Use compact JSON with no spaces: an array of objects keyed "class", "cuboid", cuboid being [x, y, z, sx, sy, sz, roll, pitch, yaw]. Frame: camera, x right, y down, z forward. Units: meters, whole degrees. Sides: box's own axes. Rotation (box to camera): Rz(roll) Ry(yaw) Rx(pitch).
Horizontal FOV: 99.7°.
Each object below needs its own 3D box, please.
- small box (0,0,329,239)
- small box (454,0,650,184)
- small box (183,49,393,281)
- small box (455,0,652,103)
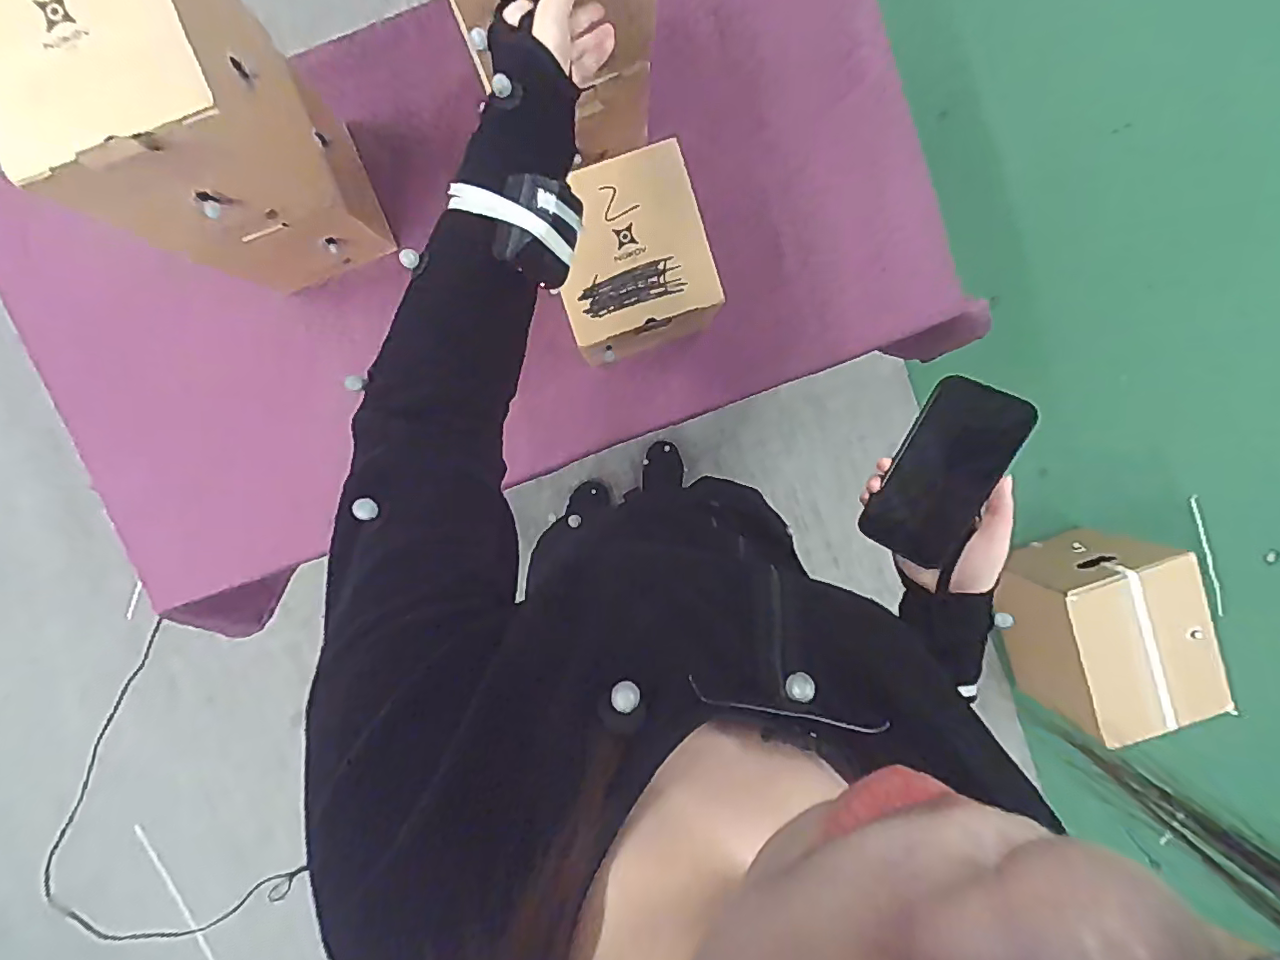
[{"class":"small box","cuboid":[-0.412,-0.331,0.466,0.168,0.176,0.179,-20,97,0]},{"class":"small box","cuboid":[-0.099,-0.483,0.617,0.168,0.176,0.179,-22,97,2]},{"class":"small box","cuboid":[-0.422,-0.350,0.630,0.168,0.176,0.179,-20,96,1]},{"class":"small box","cuboid":[-0.092,-0.472,0.453,0.168,0.176,0.179,-20,97,2]}]
